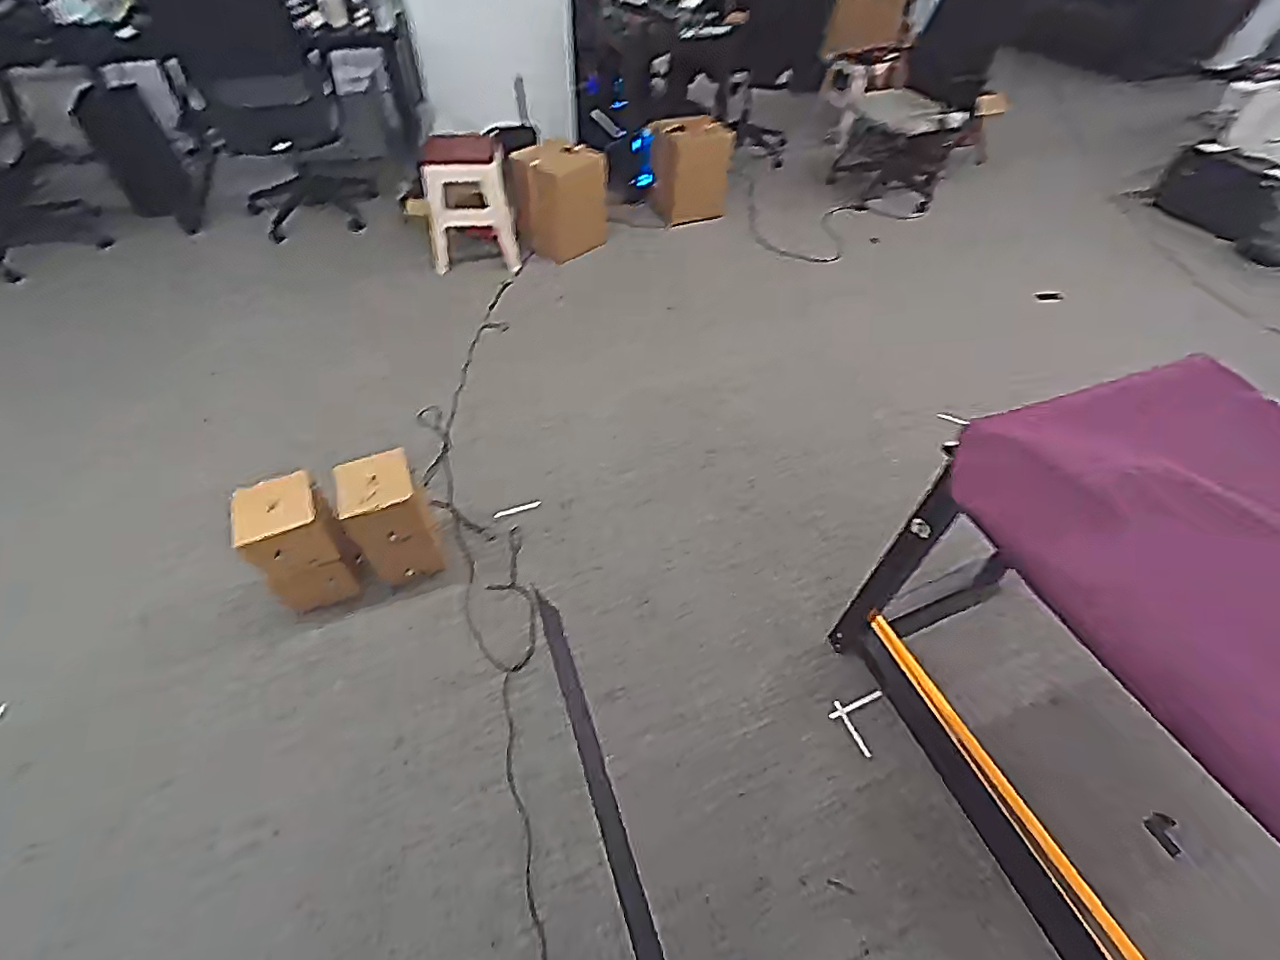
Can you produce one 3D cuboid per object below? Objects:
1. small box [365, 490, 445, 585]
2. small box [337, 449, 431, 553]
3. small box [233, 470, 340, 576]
[{"bbox_3d":[-0.654,0.160,1.500,0.168,0.176,0.179,-16,54,-15],"label":"small box"},{"bbox_3d":[-0.647,0.055,1.372,0.168,0.176,0.179,-18,54,-15],"label":"small box"},{"bbox_3d":[-0.858,0.113,1.321,0.168,0.176,0.179,-20,53,-18],"label":"small box"}]
